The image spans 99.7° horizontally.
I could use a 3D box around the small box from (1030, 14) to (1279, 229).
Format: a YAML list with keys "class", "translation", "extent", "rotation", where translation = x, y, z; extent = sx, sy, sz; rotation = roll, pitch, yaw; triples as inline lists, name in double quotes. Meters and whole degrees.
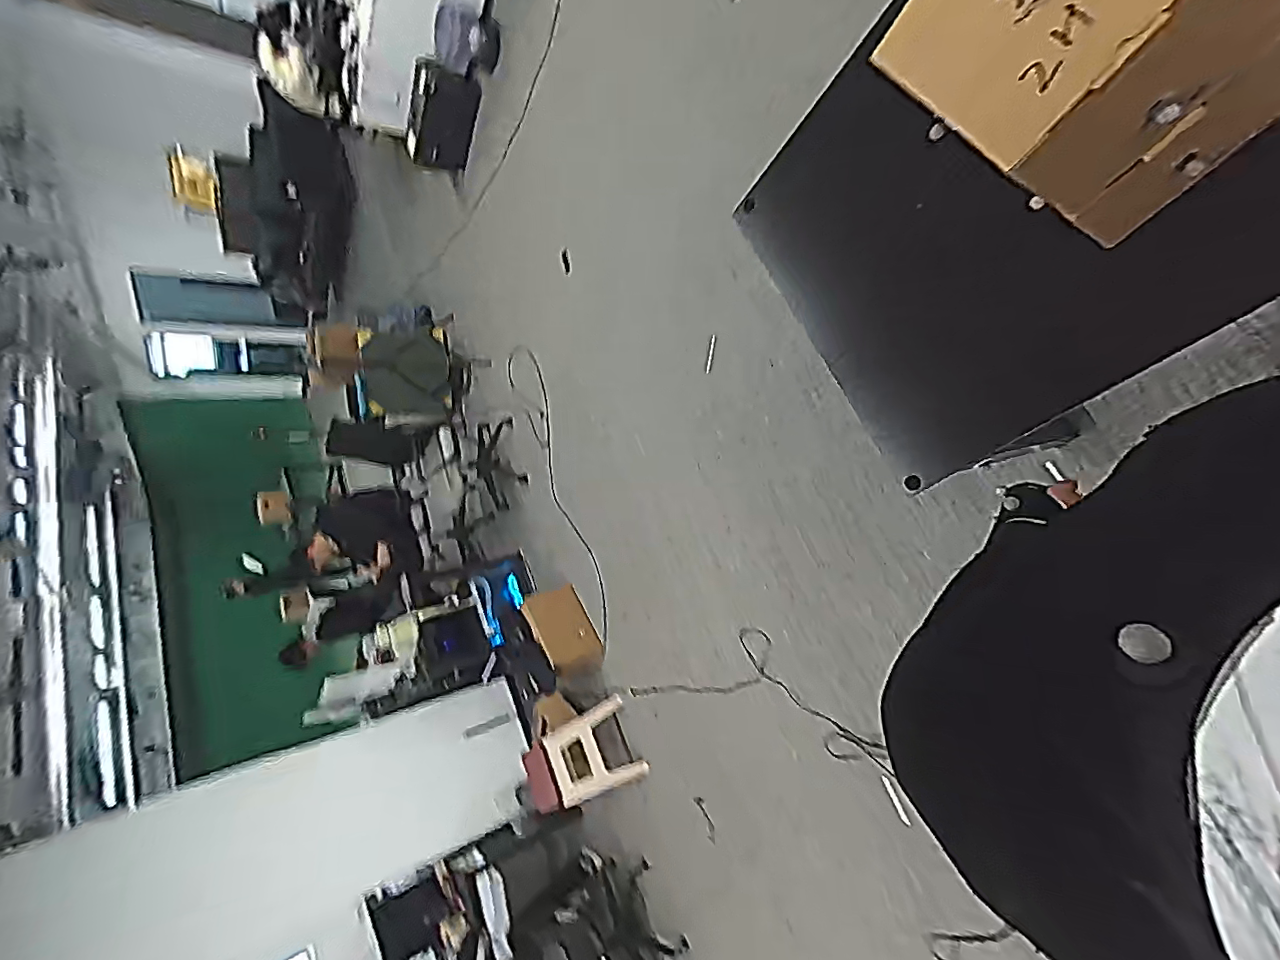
- class: "small box"
  translation: [0.466, -0.374, 0.533]
  extent: [0.168, 0.176, 0.179]
  rotation: [-50, 58, 44]

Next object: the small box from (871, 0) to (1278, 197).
- class: "small box"
  translation: [0.335, -0.359, 0.432]
  extent: [0.168, 0.176, 0.179]
  rotation: [-52, 57, 43]
